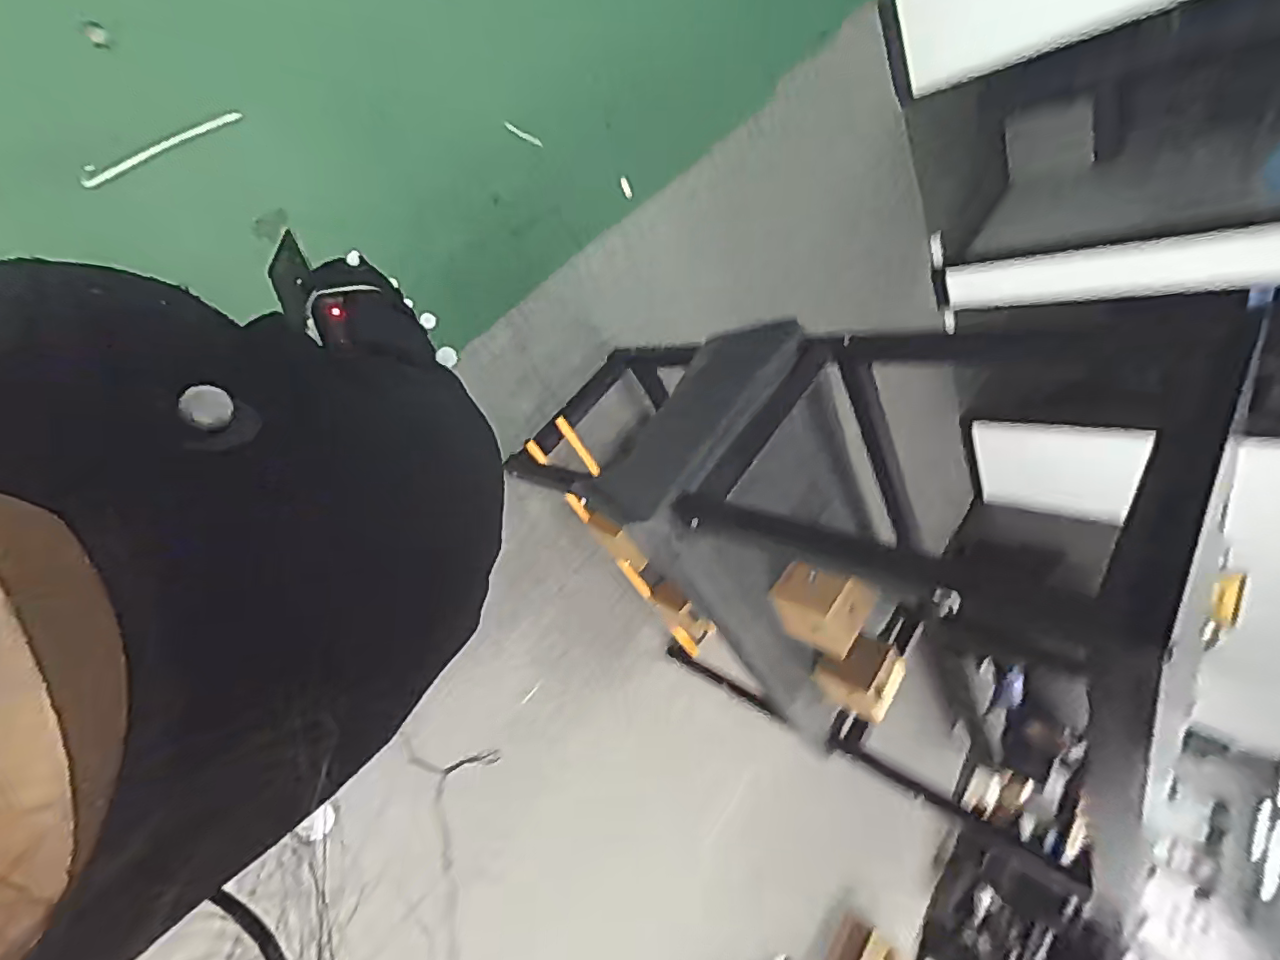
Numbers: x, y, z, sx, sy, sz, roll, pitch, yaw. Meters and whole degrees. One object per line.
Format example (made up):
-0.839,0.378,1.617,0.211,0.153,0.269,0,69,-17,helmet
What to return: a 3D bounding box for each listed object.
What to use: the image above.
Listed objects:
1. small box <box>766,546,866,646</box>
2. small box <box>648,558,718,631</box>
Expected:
0.452,0.289,1.395,0.168,0.176,0.179,-48,126,-24,small box
0.153,0.419,2.001,0.179,0.176,0.168,-47,126,-23,small box
